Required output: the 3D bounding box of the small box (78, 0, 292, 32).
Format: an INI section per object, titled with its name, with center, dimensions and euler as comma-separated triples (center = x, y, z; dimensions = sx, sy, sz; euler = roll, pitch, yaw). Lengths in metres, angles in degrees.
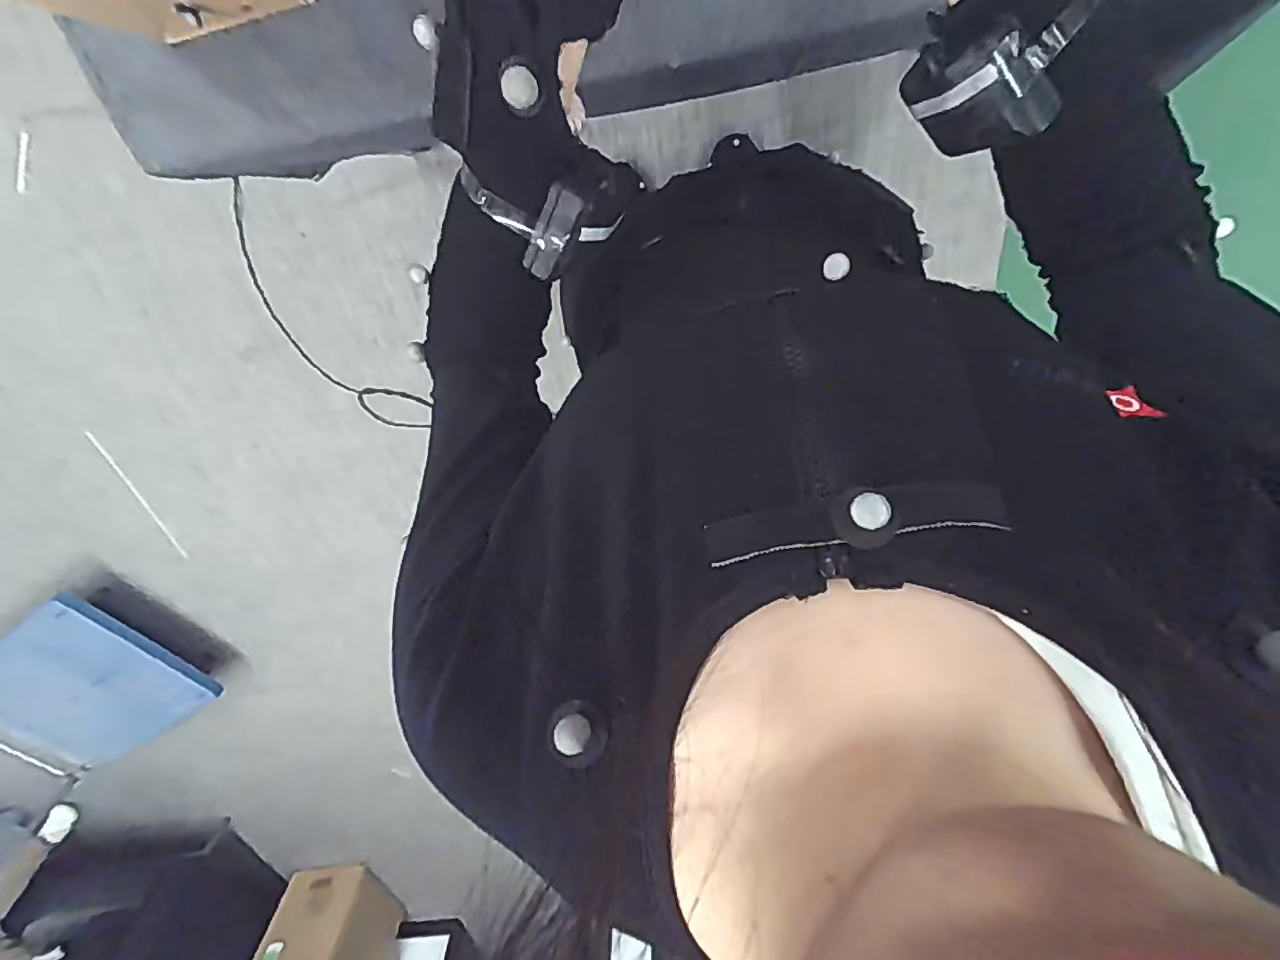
[small box]
center = -0.404, -0.480, 0.407
dimensions = 0.168, 0.176, 0.179
euler = -11, 120, 6
